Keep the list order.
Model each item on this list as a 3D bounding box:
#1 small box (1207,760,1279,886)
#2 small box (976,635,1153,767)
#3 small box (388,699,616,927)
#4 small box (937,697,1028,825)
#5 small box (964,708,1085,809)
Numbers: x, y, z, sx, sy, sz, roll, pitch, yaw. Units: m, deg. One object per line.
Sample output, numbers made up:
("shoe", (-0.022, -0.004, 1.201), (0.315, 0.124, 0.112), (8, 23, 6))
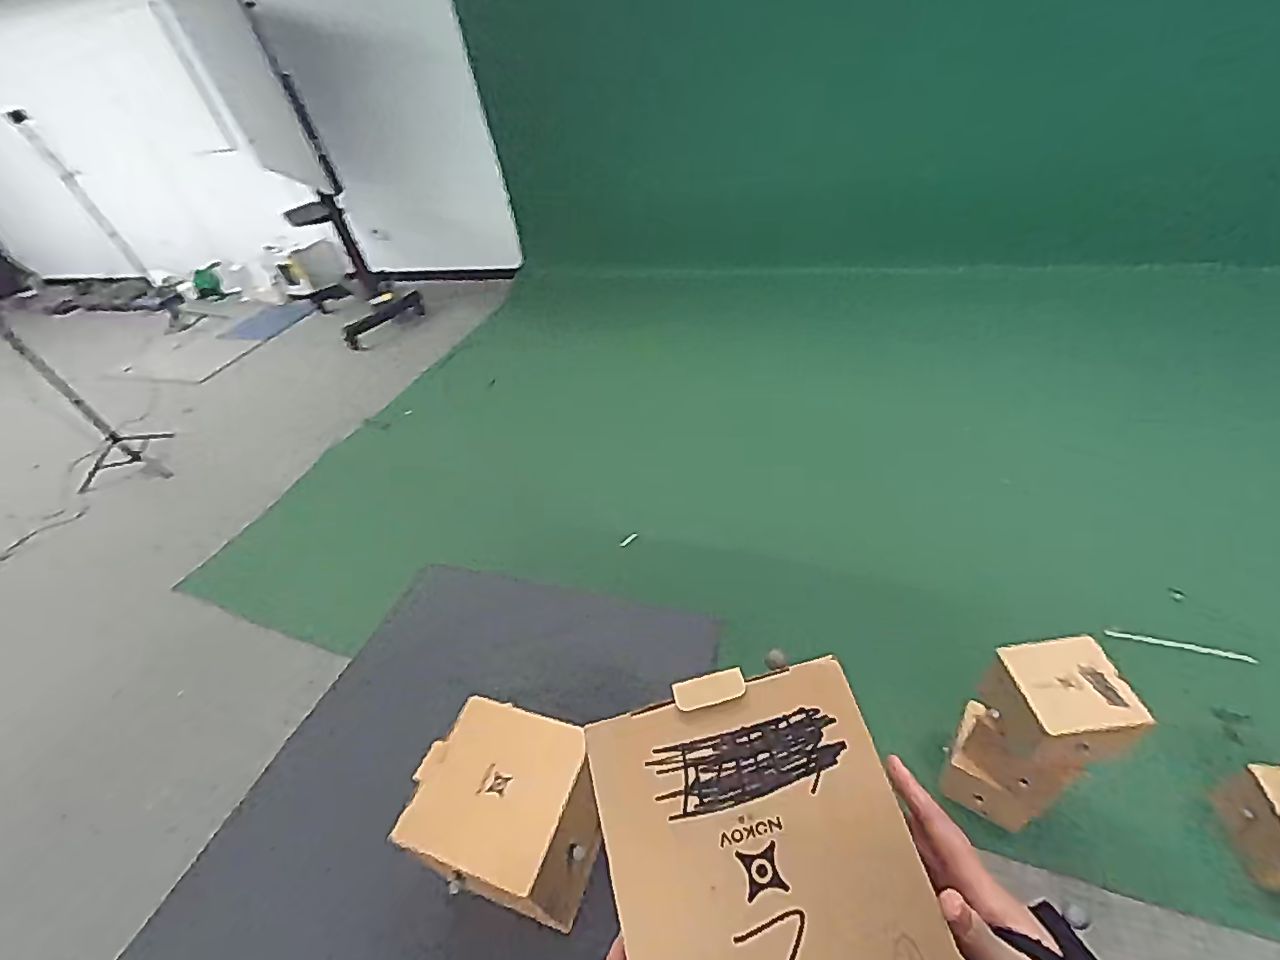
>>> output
("small box", (1.312, 0.692, 1.078), (0.168, 0.176, 0.179), (1, 42, 13))
("small box", (0.774, 0.415, 1.012), (0.179, 0.176, 0.168), (-9, 43, 3))
("small box", (-0.144, 0.392, 0.638), (0.179, 0.176, 0.168), (6, 45, 21))
("small box", (0.803, 0.647, 1.241), (0.168, 0.176, 0.179), (21, 51, 30))
("small box", (0.806, 0.537, 1.119), (0.179, 0.176, 0.168), (-29, 46, -19))
